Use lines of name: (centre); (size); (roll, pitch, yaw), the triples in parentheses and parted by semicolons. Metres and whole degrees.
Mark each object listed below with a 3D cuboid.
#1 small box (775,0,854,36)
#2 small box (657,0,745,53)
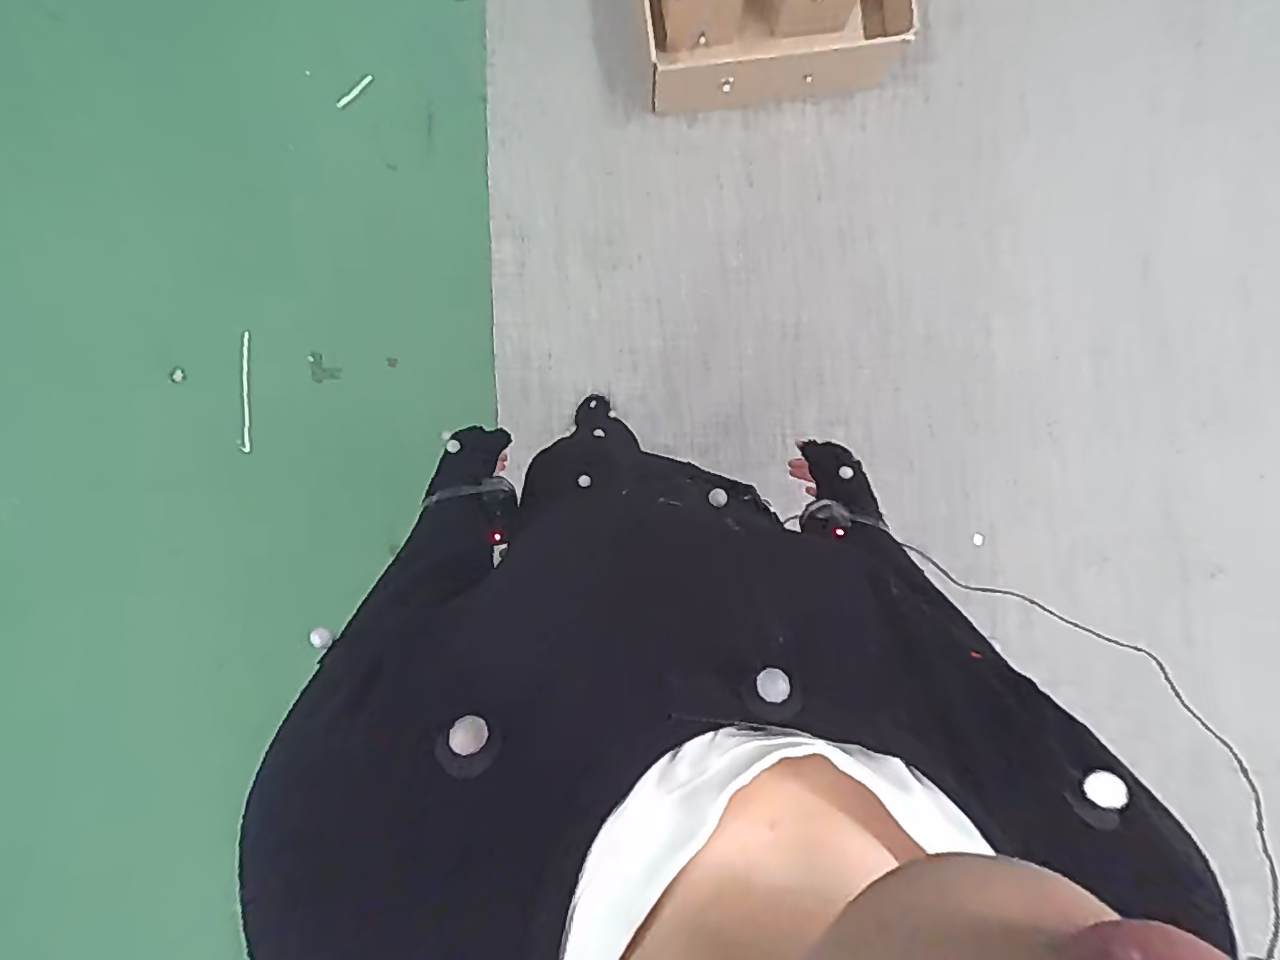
small box: (0.419, -1.198, 1.280); (0.179, 0.176, 0.168); (-5, 93, 0)
small box: (0.140, -1.162, 1.279); (0.179, 0.176, 0.168); (-10, 92, -2)
